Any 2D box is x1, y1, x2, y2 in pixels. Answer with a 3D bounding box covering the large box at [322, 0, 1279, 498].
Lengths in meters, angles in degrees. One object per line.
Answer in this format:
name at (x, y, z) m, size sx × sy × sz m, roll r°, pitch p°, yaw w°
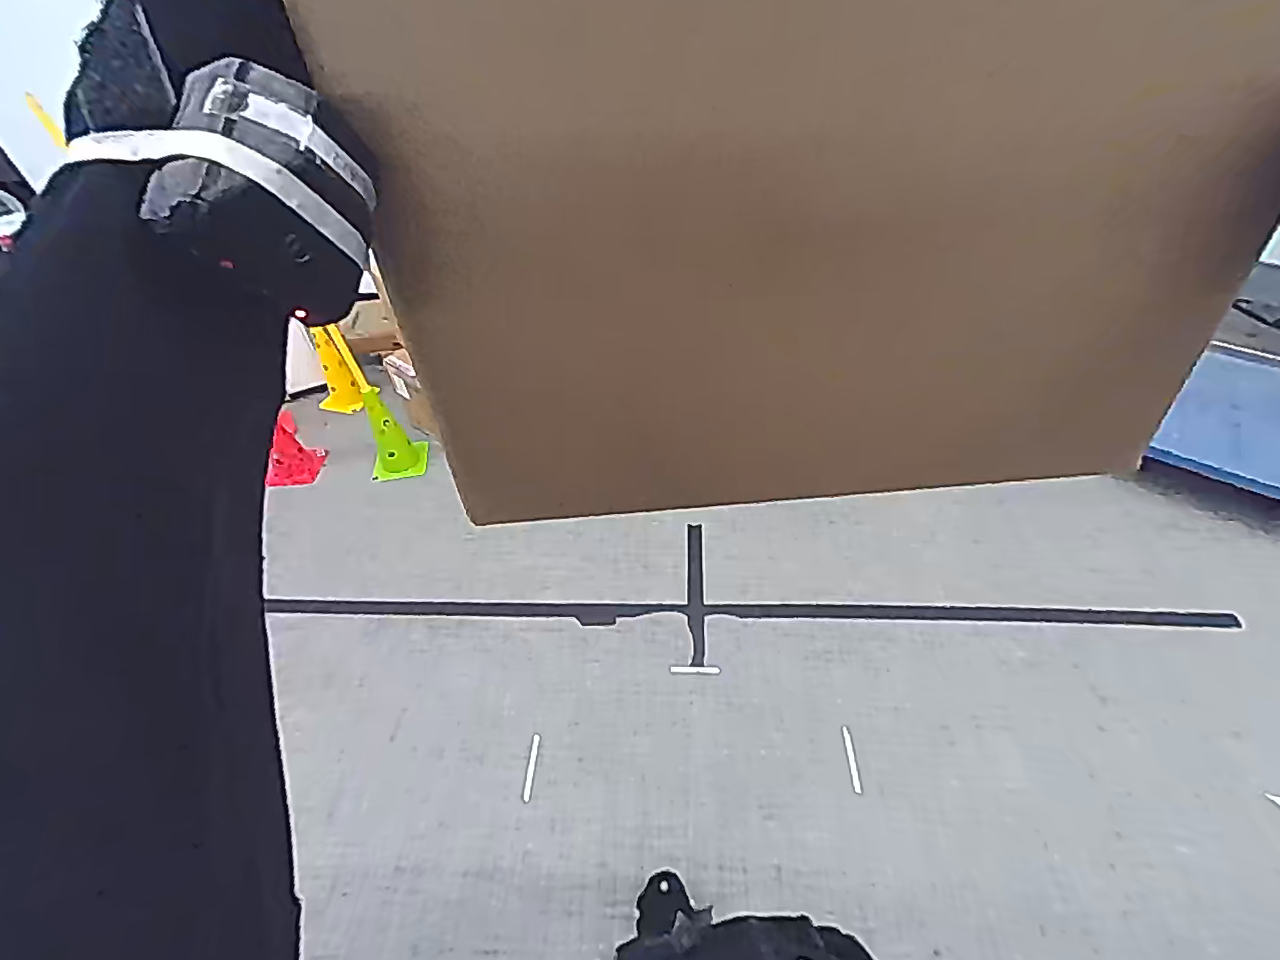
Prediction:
large box at (0.075, -0.210, 0.365) m, size 0.408 × 0.320 × 0.320 m, roll -4°, pitch 38°, yaw 0°
